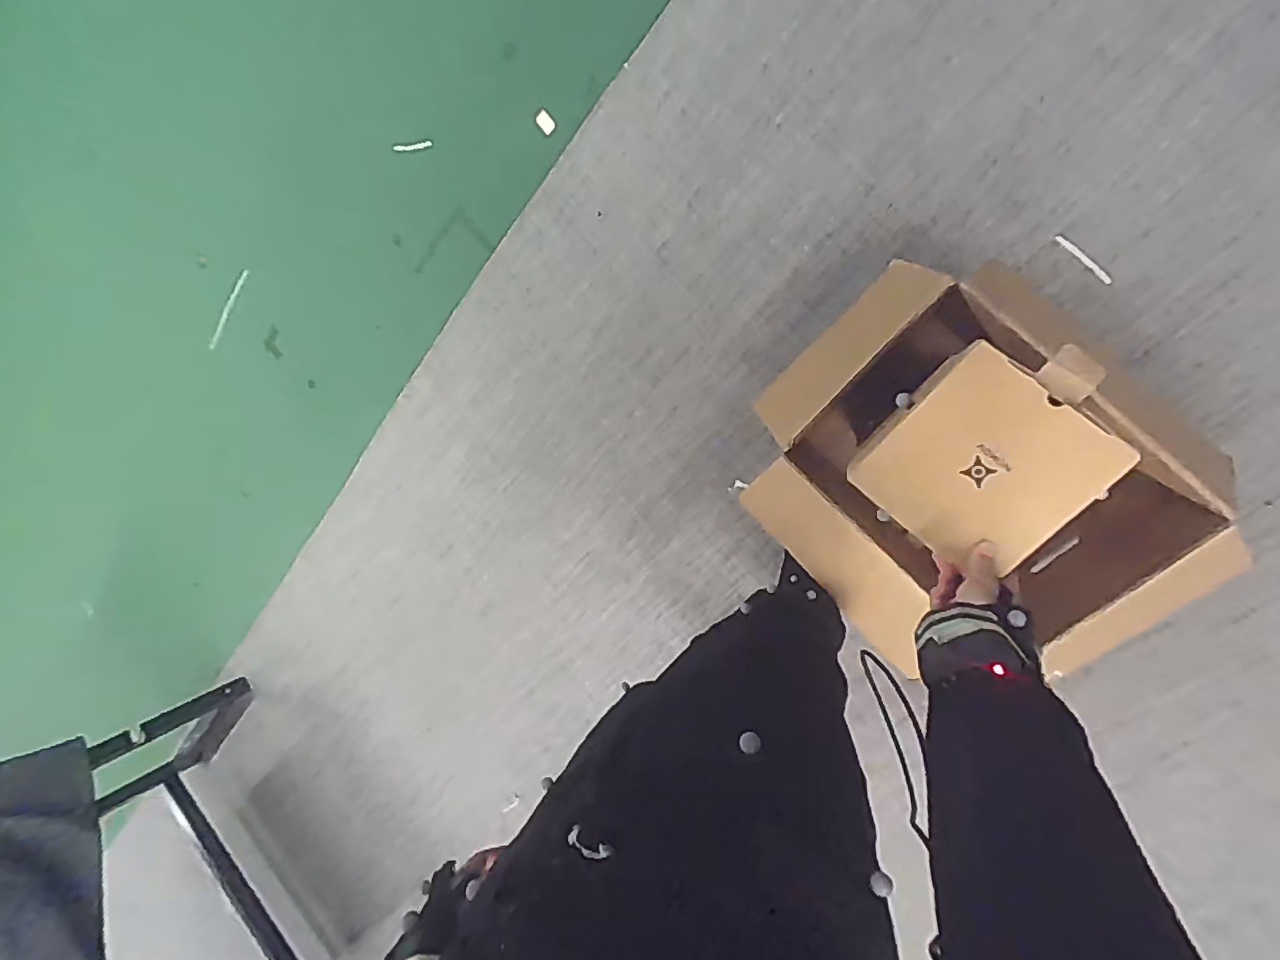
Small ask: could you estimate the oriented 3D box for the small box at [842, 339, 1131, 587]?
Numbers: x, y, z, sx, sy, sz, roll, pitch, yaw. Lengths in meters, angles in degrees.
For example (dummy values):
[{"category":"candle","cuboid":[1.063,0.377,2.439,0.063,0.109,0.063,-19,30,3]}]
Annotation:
[{"category":"small box","cuboid":[0.343,-0.018,0.577,0.168,0.176,0.179,42,107,14]}]
